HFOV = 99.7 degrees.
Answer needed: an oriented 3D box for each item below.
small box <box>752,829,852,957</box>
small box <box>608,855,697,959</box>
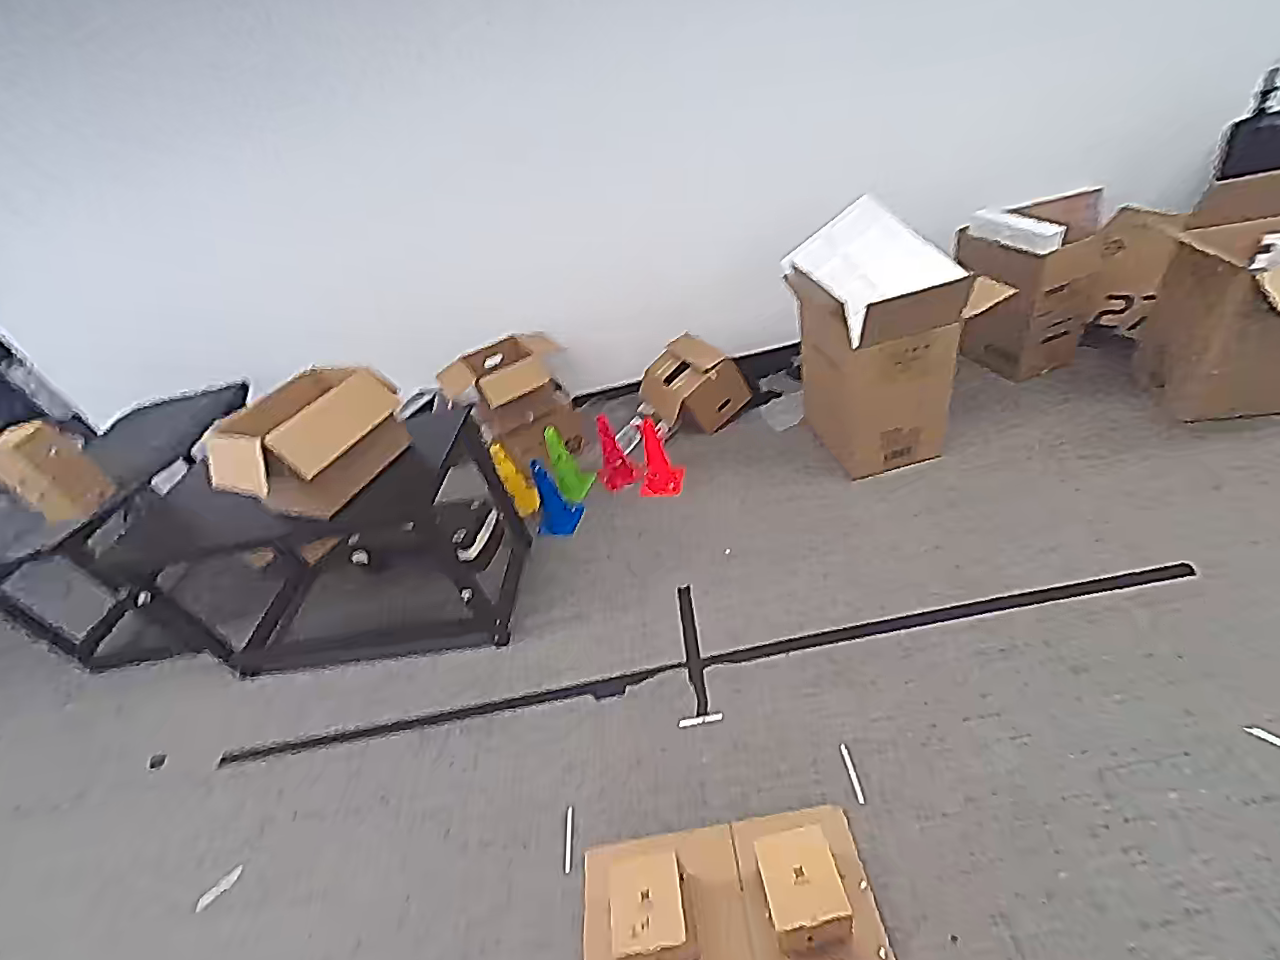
[{"bbox_3d":[0.364,0.937,1.229,0.168,0.176,0.179,-16,37,1],"label":"small box"},{"bbox_3d":[0.028,1.010,1.251,0.168,0.176,0.179,-14,37,4],"label":"small box"}]
